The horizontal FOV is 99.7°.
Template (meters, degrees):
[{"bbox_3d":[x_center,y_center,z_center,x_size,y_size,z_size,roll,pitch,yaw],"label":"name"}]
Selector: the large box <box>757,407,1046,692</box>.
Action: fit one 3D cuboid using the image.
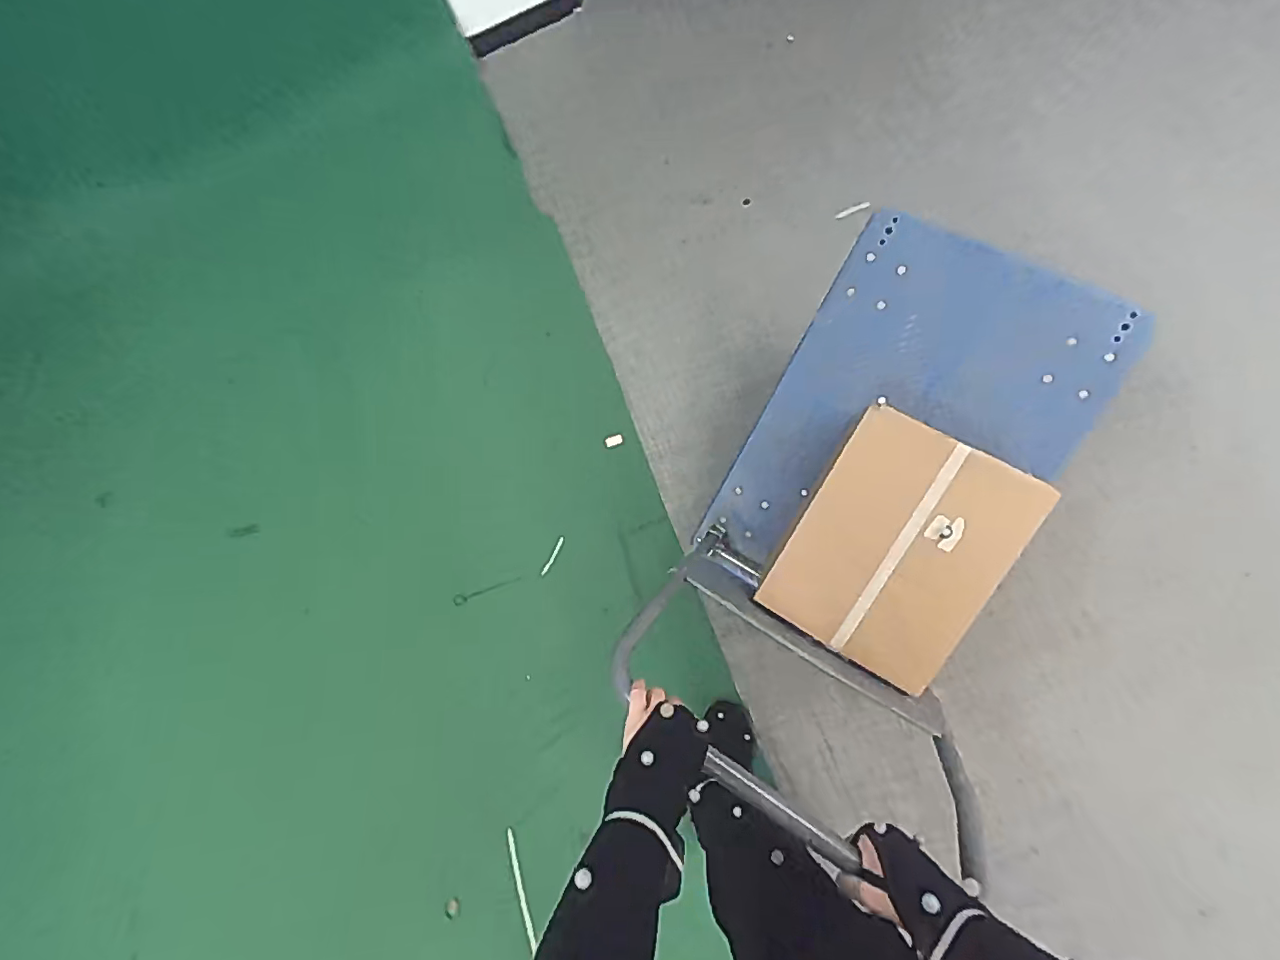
[{"bbox_3d":[0.473,0.115,1.066,0.320,0.320,0.408,31,101,13],"label":"large box"}]
